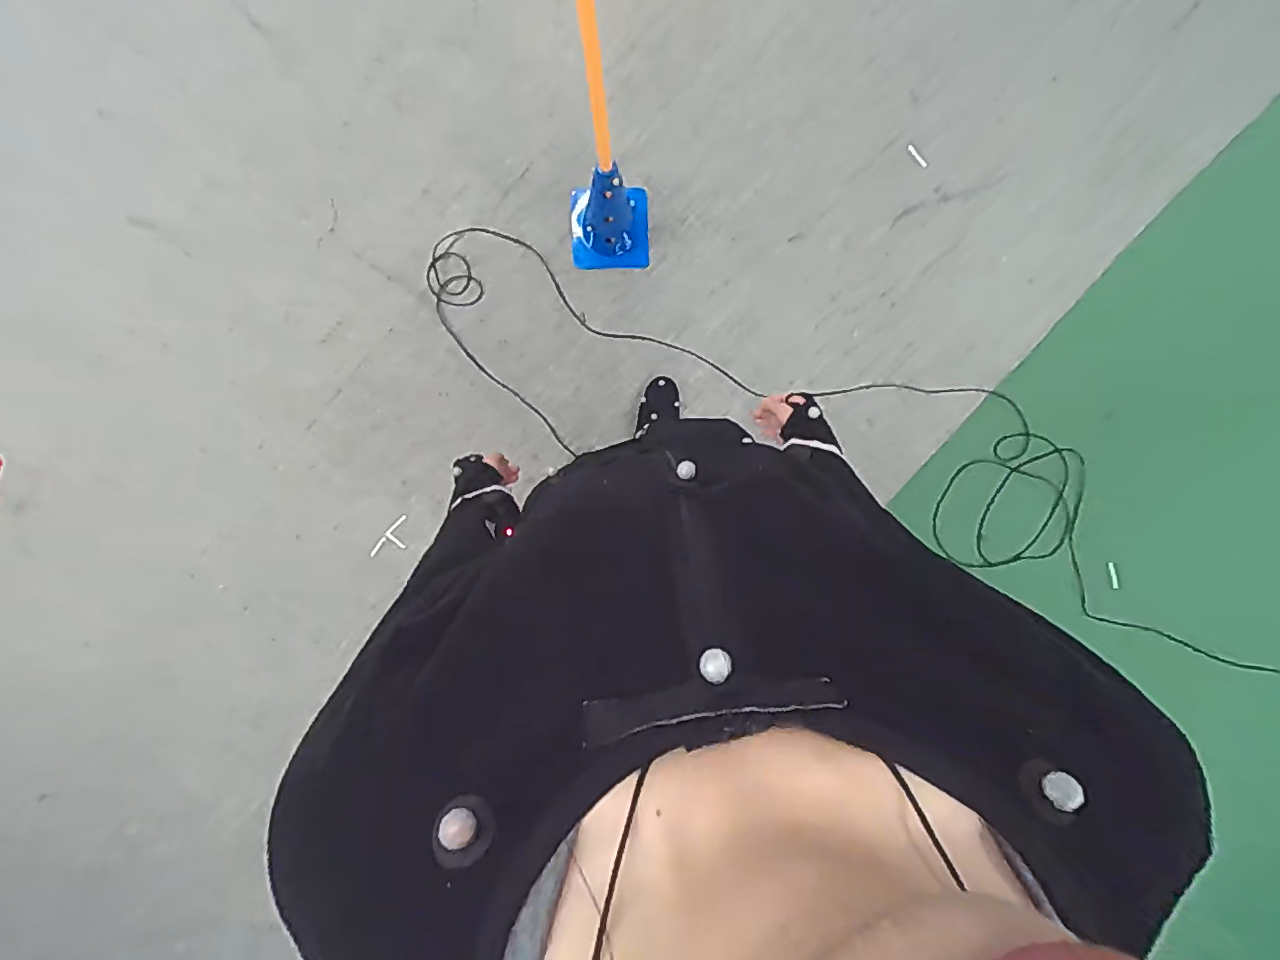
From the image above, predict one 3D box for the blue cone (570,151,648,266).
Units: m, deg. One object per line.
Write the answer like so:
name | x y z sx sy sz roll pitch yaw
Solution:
blue cone | -0.073 -0.630 1.220 0.192 0.380 0.193 -3 95 -2
